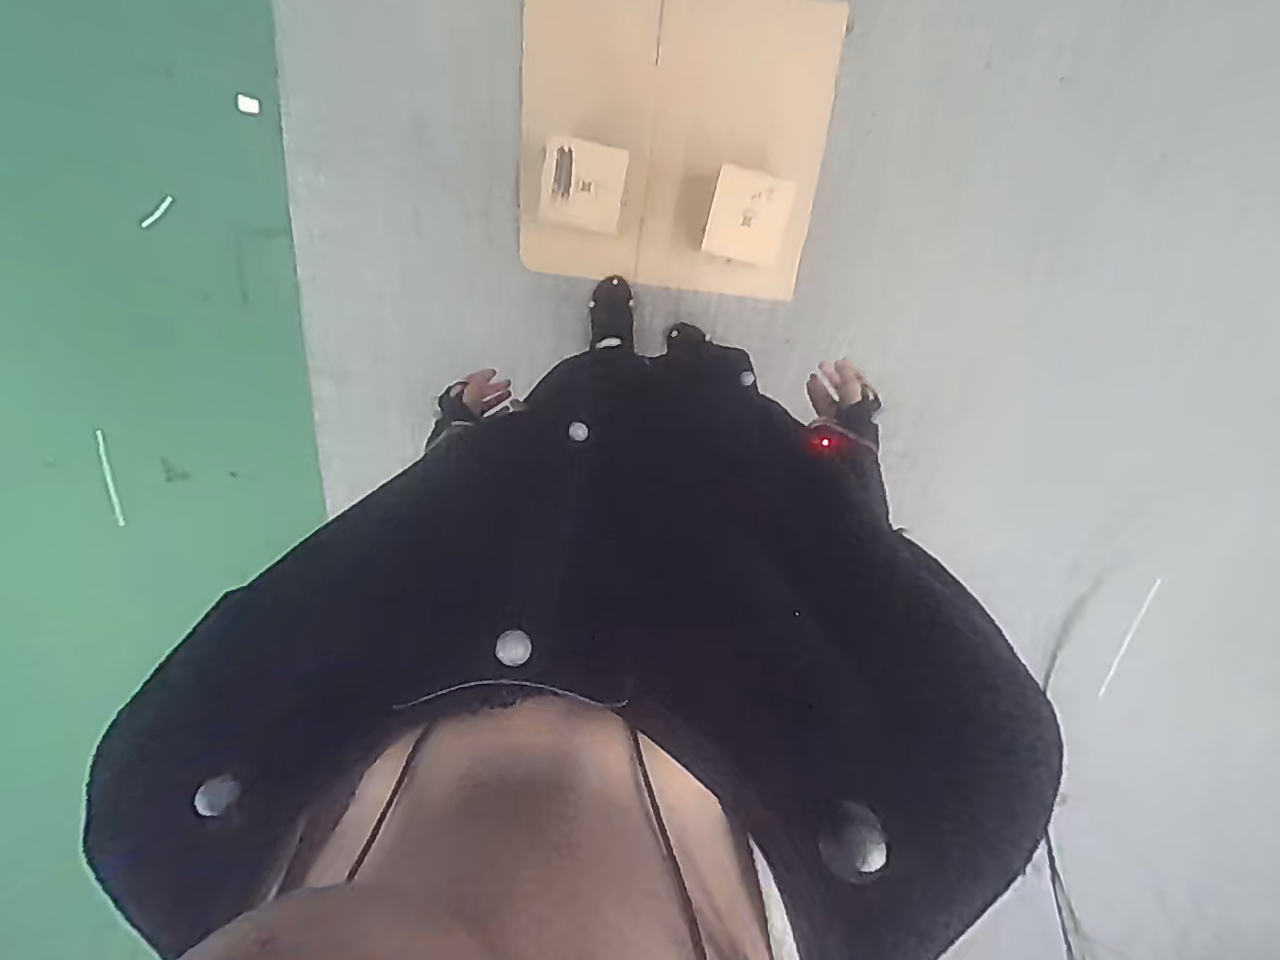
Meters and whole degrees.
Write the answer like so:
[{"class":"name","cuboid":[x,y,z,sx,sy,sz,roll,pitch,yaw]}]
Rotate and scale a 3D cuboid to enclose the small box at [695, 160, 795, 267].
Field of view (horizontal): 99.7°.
[{"class":"small box","cuboid":[0.226,-0.589,1.217,0.168,0.176,0.179,13,111,-4]}]
